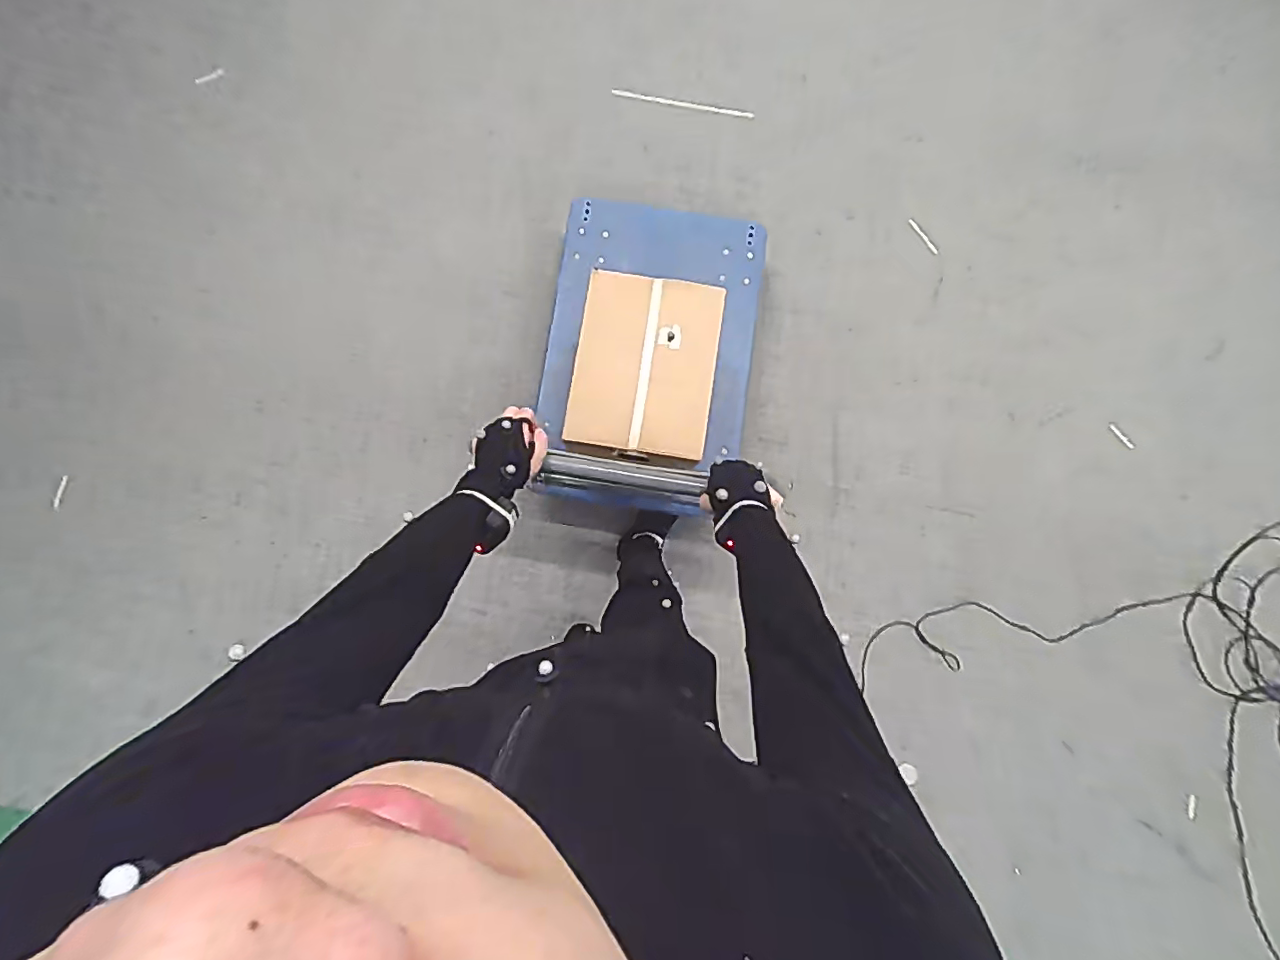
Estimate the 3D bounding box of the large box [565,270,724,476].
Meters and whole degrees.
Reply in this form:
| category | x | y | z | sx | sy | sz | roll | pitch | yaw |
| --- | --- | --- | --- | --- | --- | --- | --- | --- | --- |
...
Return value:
| category | x | y | z | sx | sy | sz | roll | pitch | yaw |
| --- | --- | --- | --- | --- | --- | --- | --- | --- | --- |
| large box | 0.014 | -0.242 | 1.347 | 0.320 | 0.320 | 0.408 | 9 | 82 | 0 |
